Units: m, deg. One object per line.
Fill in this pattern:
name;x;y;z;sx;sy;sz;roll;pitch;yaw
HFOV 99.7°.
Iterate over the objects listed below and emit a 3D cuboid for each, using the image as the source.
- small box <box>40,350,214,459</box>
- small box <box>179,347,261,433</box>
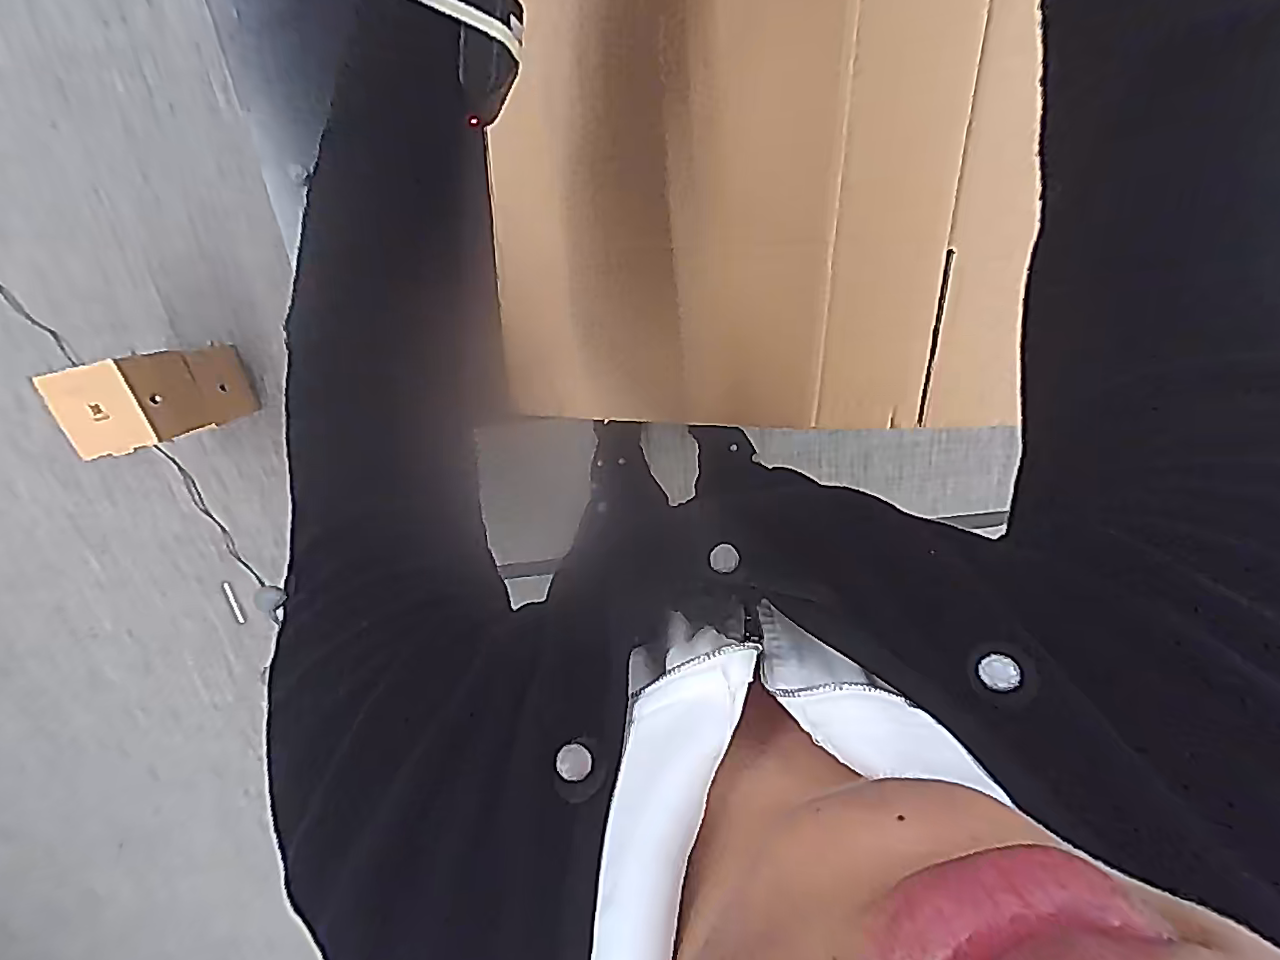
small box;-1.057;-0.164;1.135;0.168;0.176;0.179;-14;109;2
small box;-1.060;-0.214;1.289;0.168;0.176;0.179;-10;111;2
